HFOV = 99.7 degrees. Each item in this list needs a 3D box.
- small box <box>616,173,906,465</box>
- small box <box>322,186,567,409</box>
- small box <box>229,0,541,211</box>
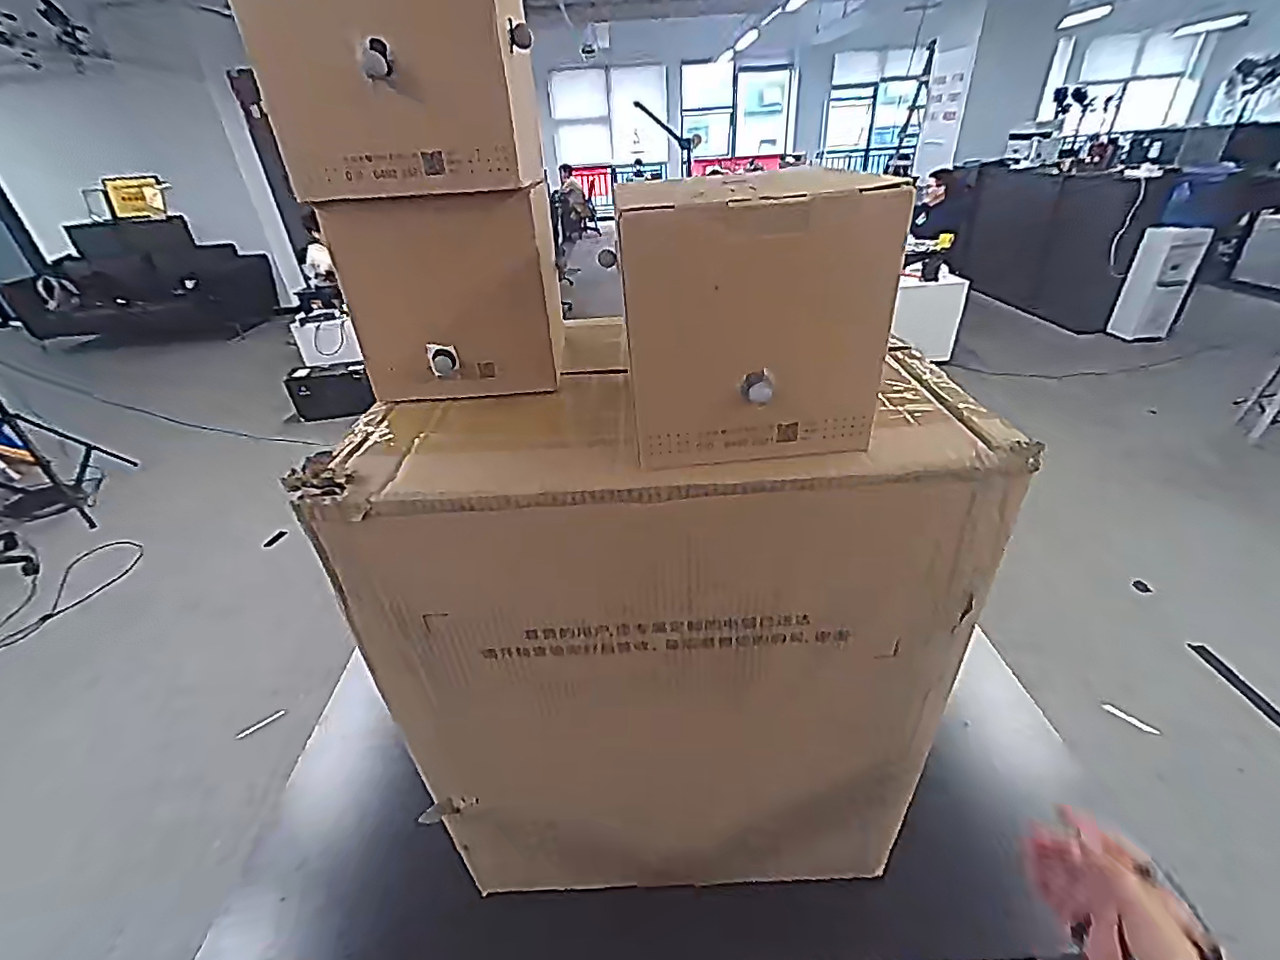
[{"bbox_3d":[0.070,-0.128,0.413,0.168,0.176,0.179,-6,33,0],"label":"small box"},{"bbox_3d":[-0.166,-0.182,0.527,0.168,0.176,0.179,-6,32,-3],"label":"small box"},{"bbox_3d":[-0.177,-0.313,0.428,0.168,0.176,0.179,-5,32,-2],"label":"small box"}]
